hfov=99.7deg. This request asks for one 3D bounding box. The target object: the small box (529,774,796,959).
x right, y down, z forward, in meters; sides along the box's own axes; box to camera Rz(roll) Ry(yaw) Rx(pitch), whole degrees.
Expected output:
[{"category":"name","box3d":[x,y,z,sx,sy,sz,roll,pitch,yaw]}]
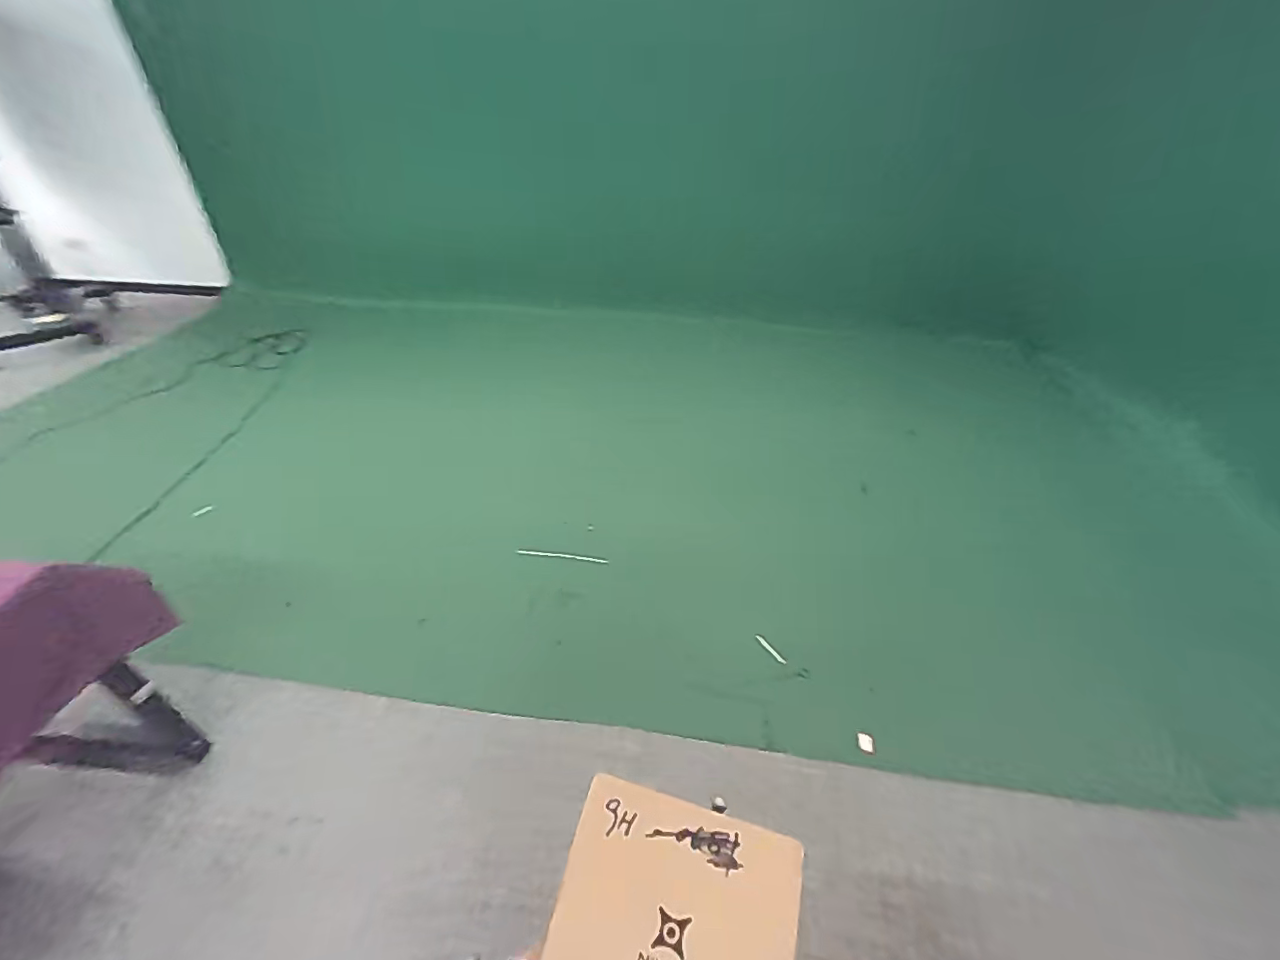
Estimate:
[{"category":"small box","box3d":[0.016,0.362,0.423,0.168,0.176,0.179,12,54,11]}]
